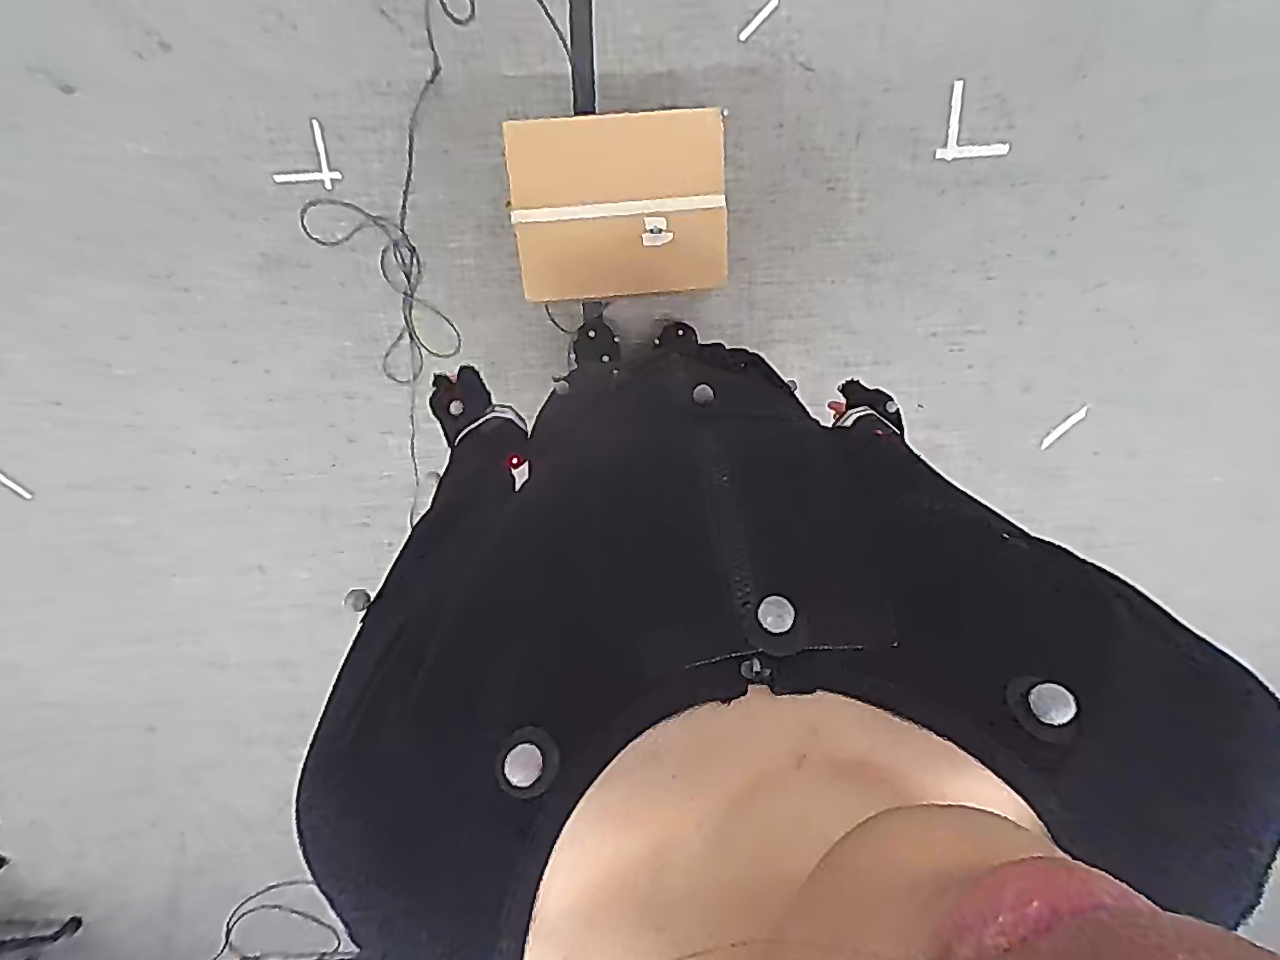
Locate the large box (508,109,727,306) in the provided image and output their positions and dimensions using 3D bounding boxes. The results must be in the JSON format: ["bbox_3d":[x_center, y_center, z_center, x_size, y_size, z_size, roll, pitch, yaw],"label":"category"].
[{"bbox_3d":[-0.043,-0.562,1.180,0.408,0.320,0.320,-5,108,-1],"label":"large box"}]
